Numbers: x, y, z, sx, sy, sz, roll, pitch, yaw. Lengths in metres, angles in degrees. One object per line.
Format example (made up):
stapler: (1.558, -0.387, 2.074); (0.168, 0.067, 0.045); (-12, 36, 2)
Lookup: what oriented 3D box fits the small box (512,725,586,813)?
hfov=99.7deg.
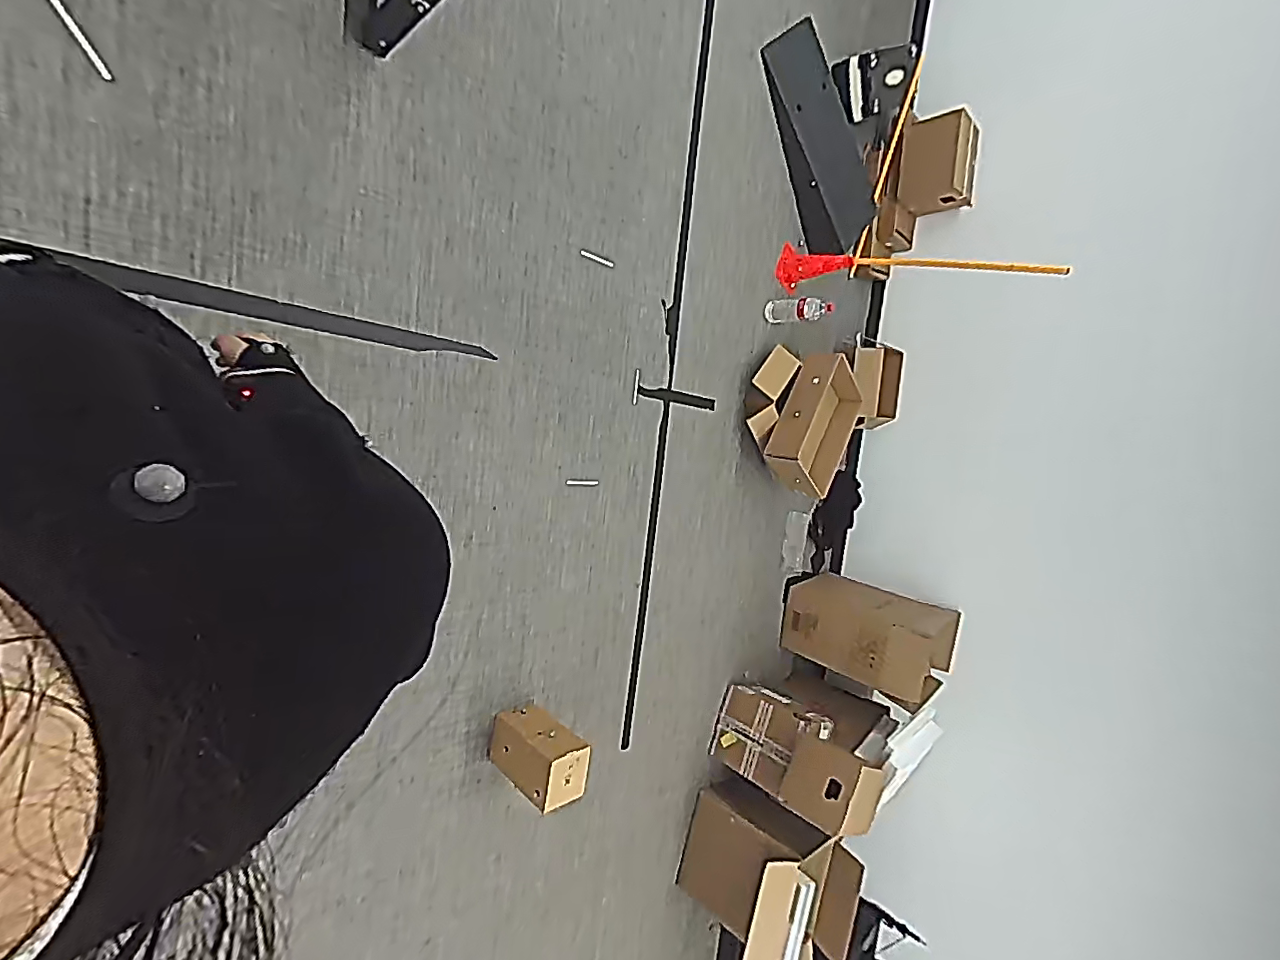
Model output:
small box: (-0.305, 0.947, 1.786); (0.168, 0.176, 0.179); (6, 93, -48)
